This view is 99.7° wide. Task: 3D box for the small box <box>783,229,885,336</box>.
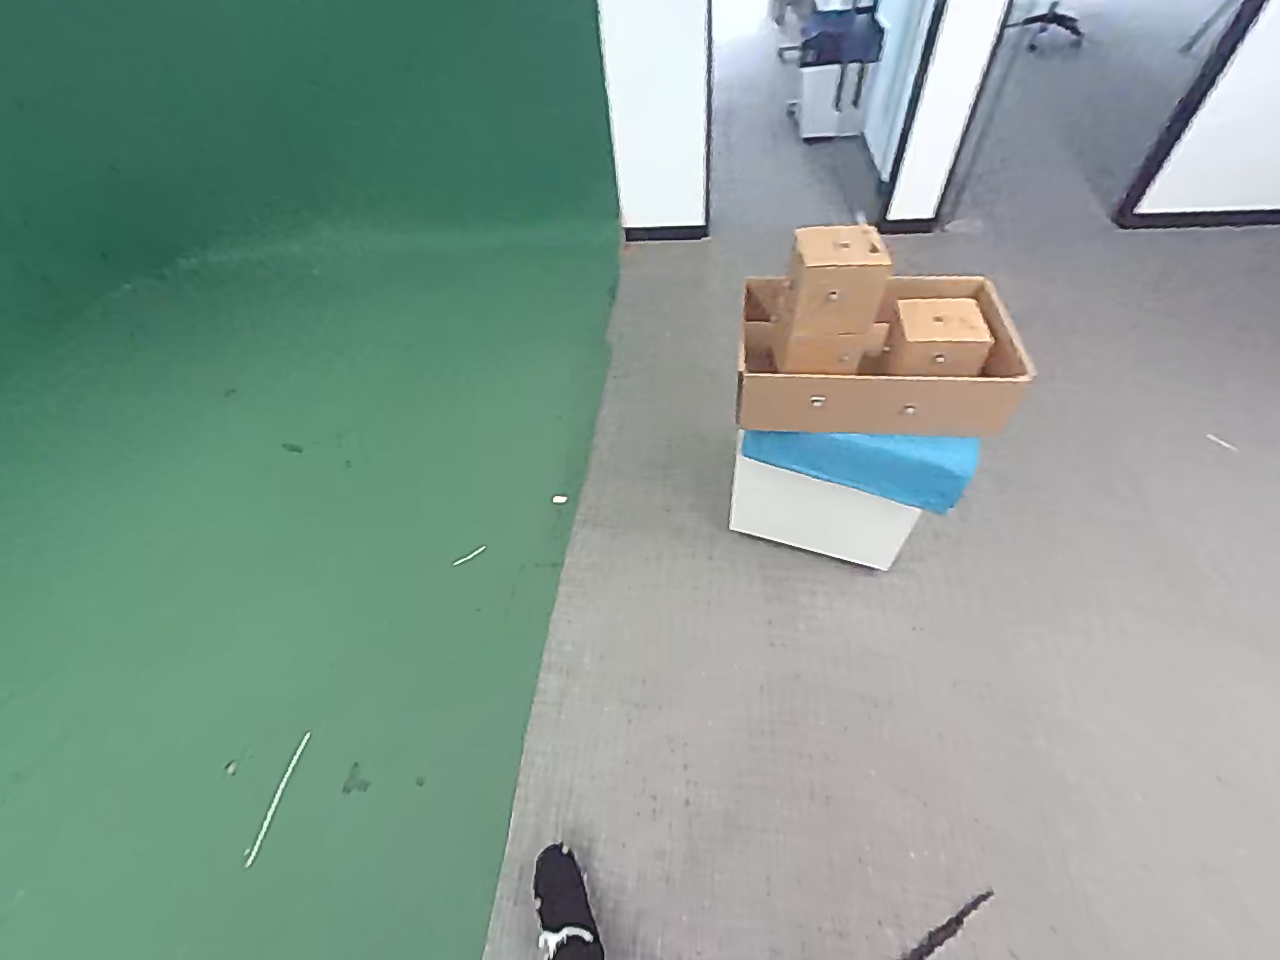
[{"bbox_3d":[0.420,-0.437,1.209,0.179,0.176,0.168,-1,51,4],"label":"small box"}]
